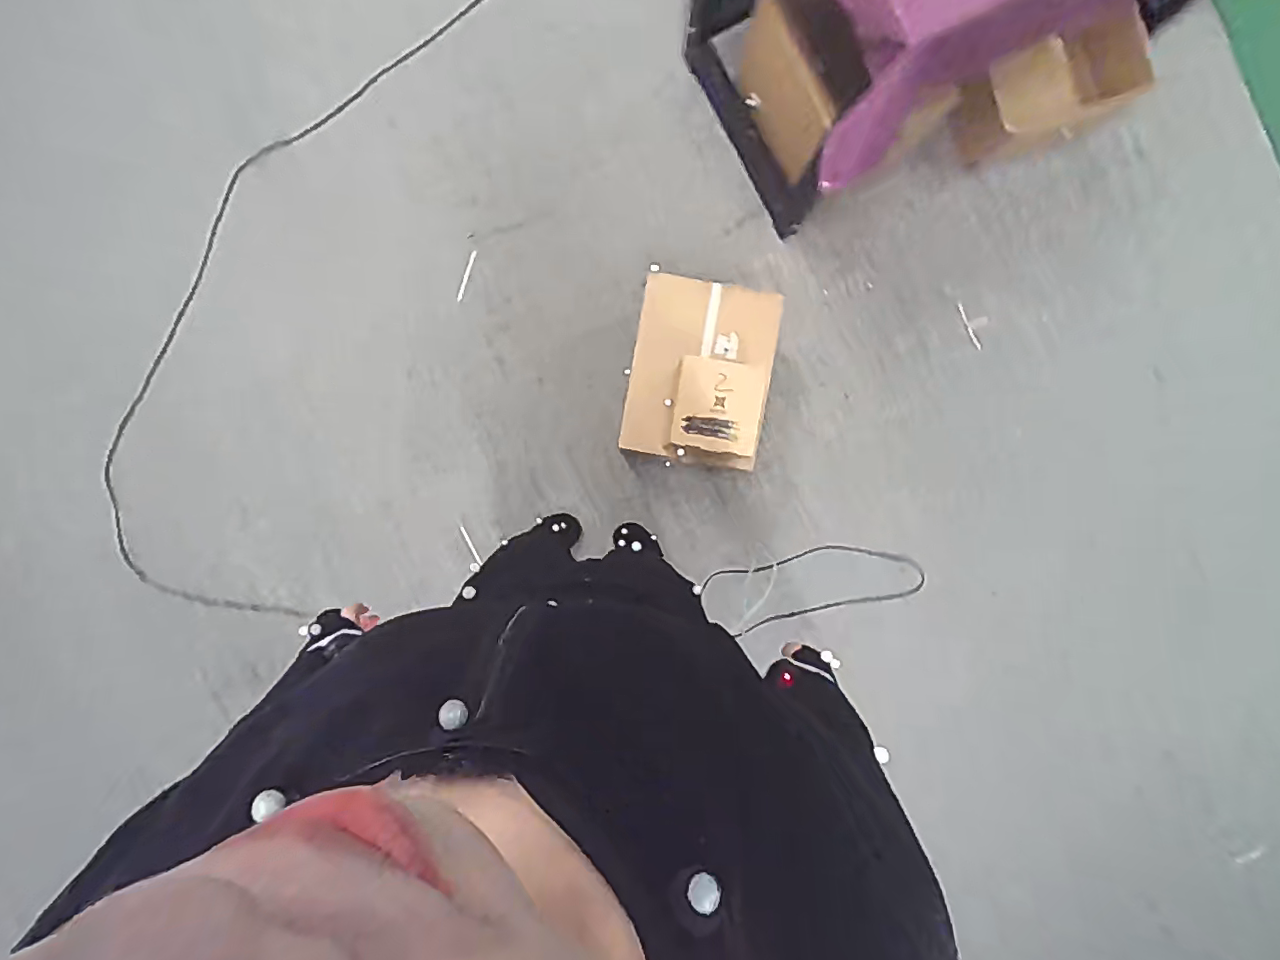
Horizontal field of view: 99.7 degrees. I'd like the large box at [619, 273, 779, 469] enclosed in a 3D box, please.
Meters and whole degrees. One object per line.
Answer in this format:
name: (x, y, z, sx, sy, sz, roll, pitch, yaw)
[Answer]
large box: (0.130, -0.245, 1.356, 0.320, 0.320, 0.408, 10, 90, -2)
